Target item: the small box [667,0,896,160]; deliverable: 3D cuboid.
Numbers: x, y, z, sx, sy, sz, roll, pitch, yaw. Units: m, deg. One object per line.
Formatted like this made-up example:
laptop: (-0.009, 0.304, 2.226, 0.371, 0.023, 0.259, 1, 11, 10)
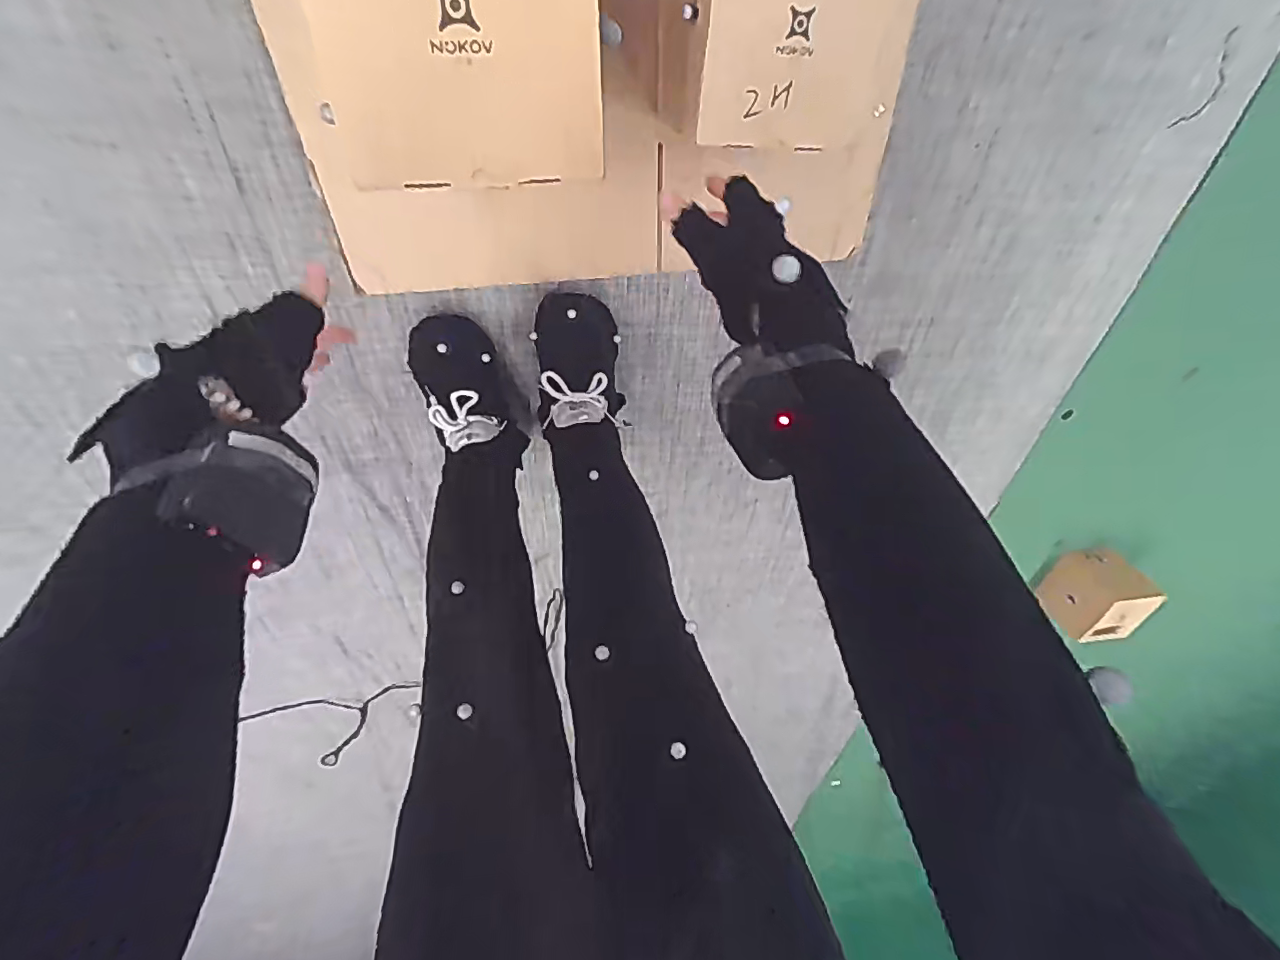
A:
small box: (0.127, -0.439, 0.541, 0.168, 0.176, 0.179, -3, 131, -9)
